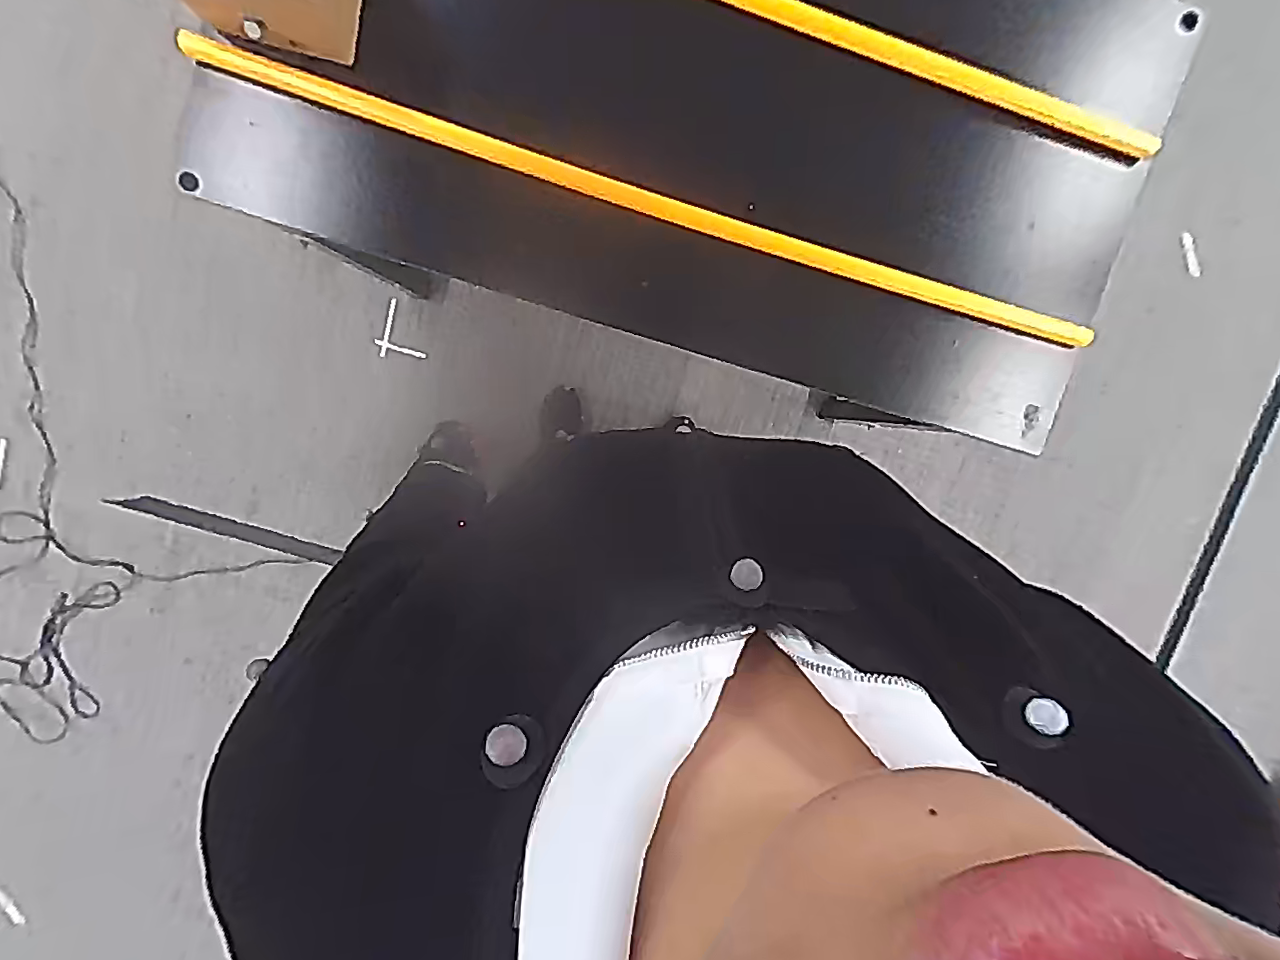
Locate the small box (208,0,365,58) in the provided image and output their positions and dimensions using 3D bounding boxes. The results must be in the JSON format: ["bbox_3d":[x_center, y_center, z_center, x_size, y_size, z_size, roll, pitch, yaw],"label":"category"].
[{"bbox_3d":[-0.404,-0.605,0.569,0.168,0.176,0.179,12,99,-4],"label":"small box"}]
